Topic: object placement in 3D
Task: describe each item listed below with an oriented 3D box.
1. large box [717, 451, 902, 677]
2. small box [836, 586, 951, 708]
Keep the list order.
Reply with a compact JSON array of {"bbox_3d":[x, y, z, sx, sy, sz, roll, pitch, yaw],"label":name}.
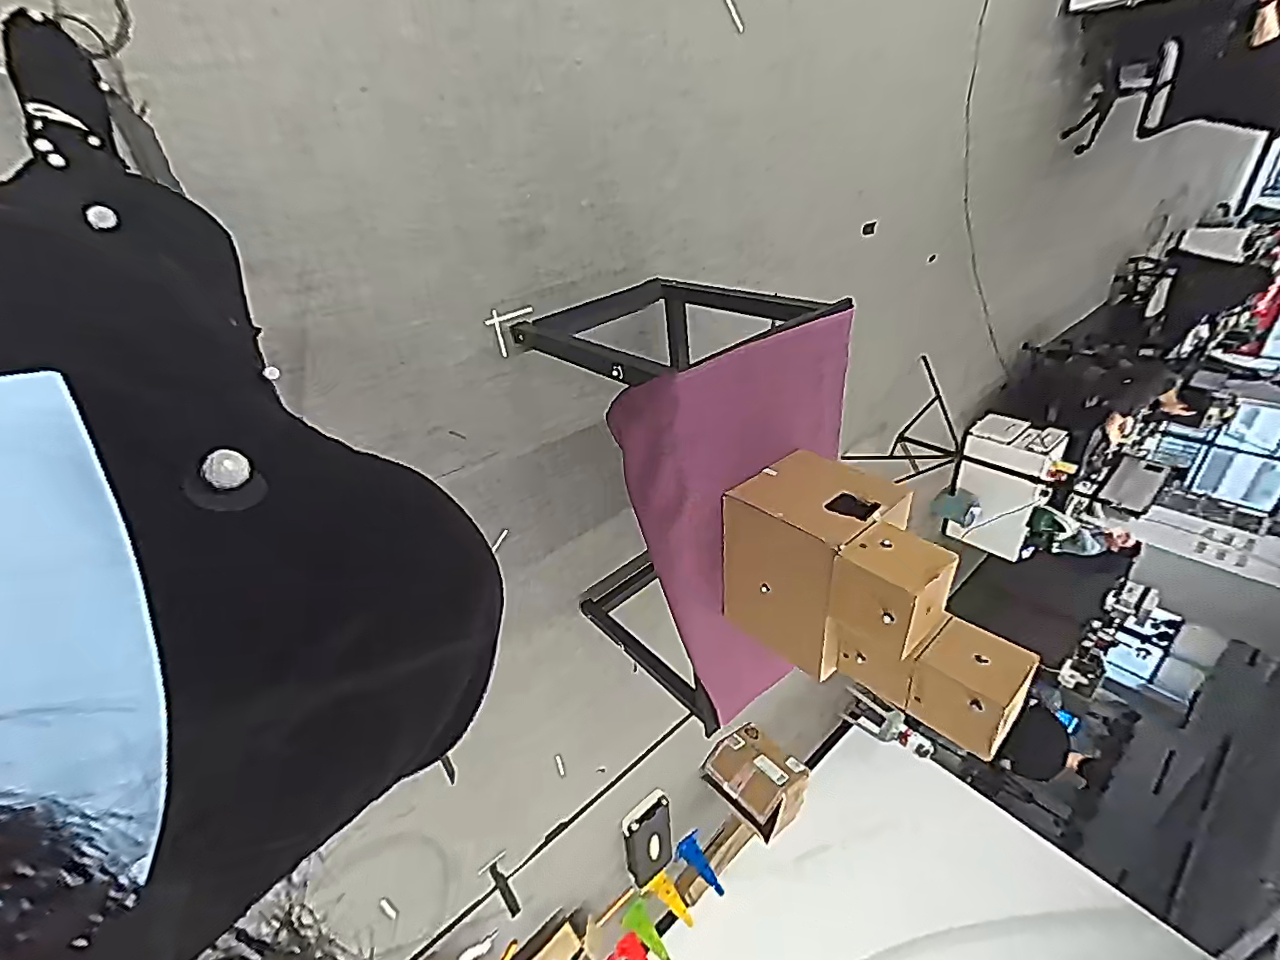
[{"bbox_3d":[0.413,0.195,1.361,0.320,0.320,0.408,-29,127,-32],"label":"large box"},{"bbox_3d":[0.581,0.375,1.250,0.179,0.176,0.168,-28,125,-31],"label":"small box"}]
